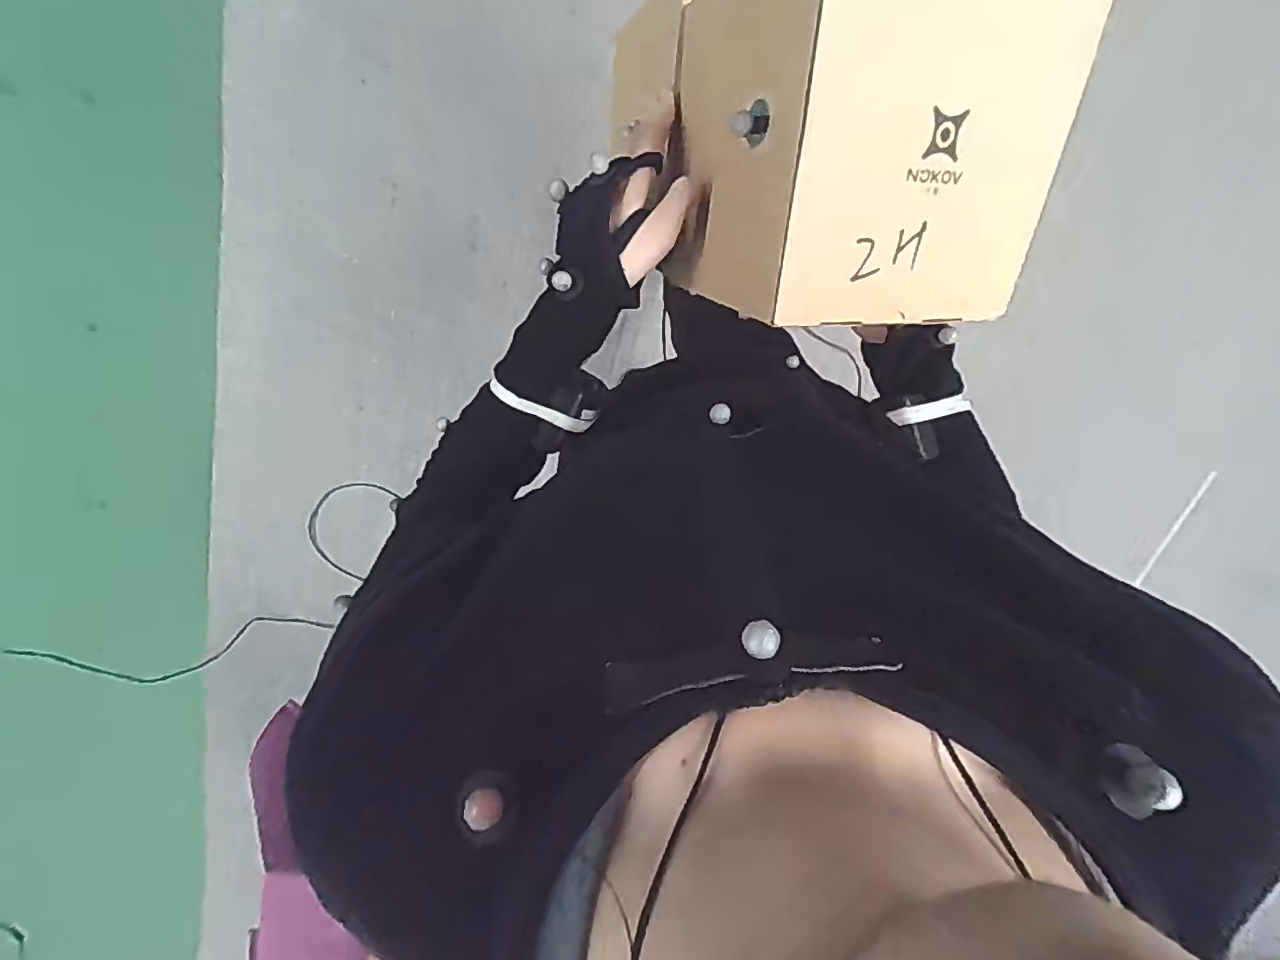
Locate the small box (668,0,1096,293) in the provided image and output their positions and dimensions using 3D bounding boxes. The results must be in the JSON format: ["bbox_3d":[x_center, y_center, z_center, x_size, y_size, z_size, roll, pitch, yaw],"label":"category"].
[{"bbox_3d":[0.123,-0.222,0.341,0.168,0.176,0.179,-5,119,-16],"label":"small box"}]
